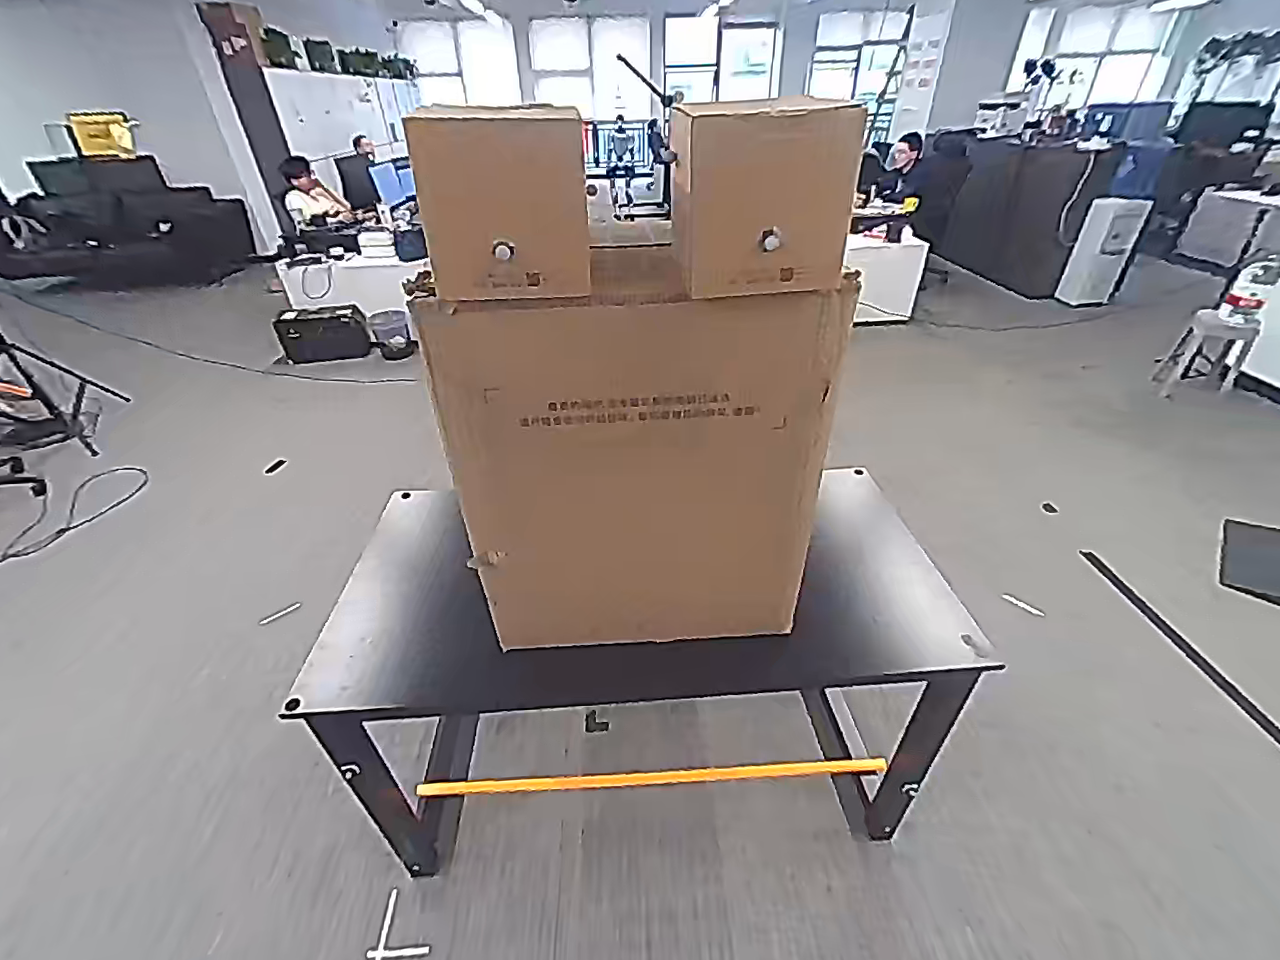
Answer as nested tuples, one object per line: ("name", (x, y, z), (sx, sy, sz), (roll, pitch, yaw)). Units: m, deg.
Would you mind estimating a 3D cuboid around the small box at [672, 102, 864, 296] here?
("small box", (0.124, -0.318, 0.610), (0.168, 0.176, 0.179), (-5, 37, -1))
